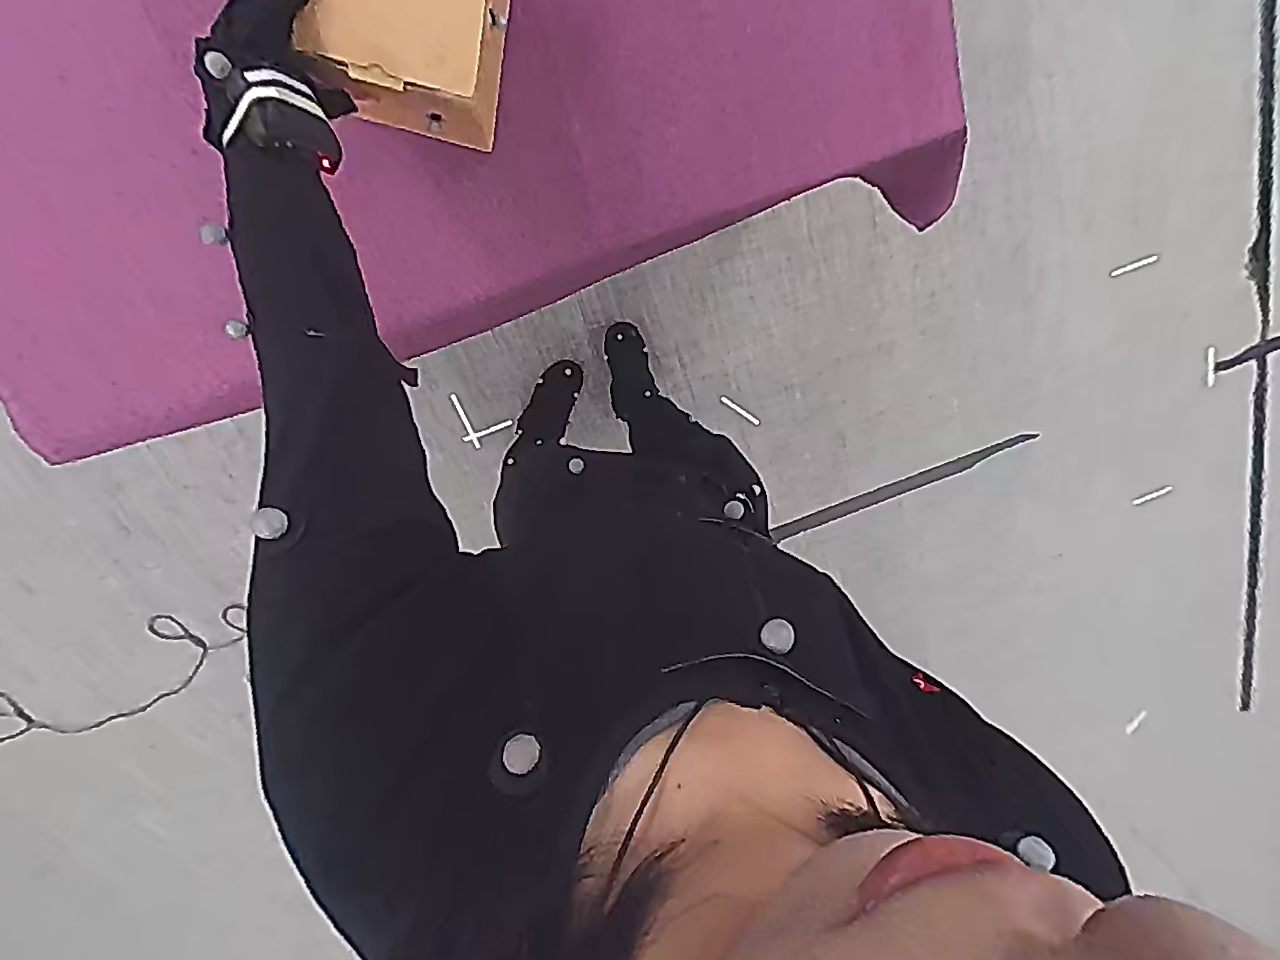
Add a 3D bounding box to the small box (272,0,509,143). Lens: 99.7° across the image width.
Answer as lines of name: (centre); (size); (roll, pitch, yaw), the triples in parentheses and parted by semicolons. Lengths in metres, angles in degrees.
small box: (-0.222, -0.455, 0.517); (0.168, 0.176, 0.179); (8, 105, -12)
